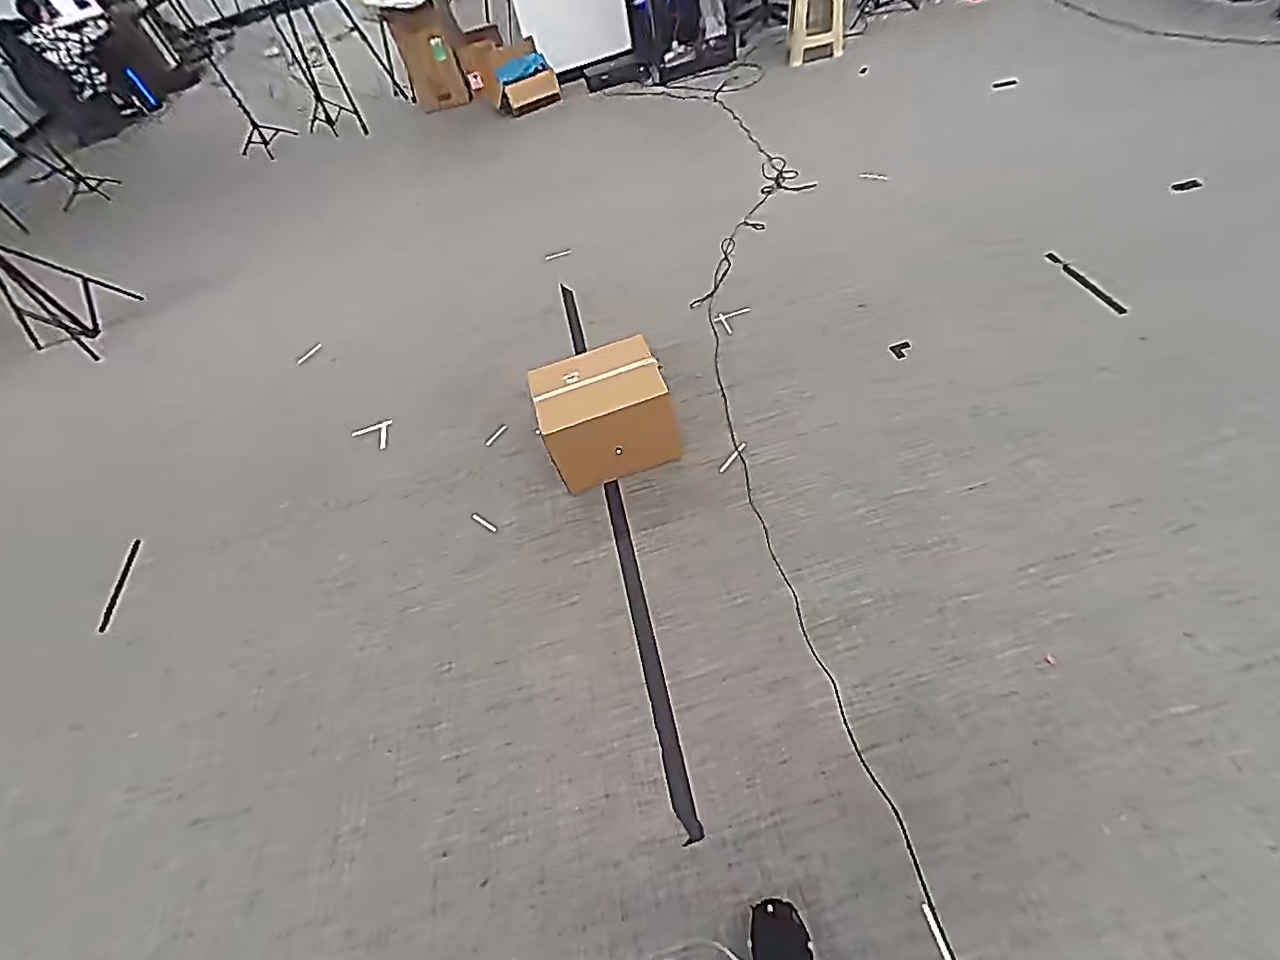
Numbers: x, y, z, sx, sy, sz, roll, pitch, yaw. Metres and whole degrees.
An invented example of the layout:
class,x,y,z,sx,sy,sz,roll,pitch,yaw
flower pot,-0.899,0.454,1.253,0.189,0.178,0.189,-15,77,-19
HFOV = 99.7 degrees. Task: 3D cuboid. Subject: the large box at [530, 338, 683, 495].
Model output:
class,x,y,z,sx,sy,sz,roll,pitch,yaw
large box,-0.109,-0.208,1.811,0.408,0.320,0.320,-20,50,0
